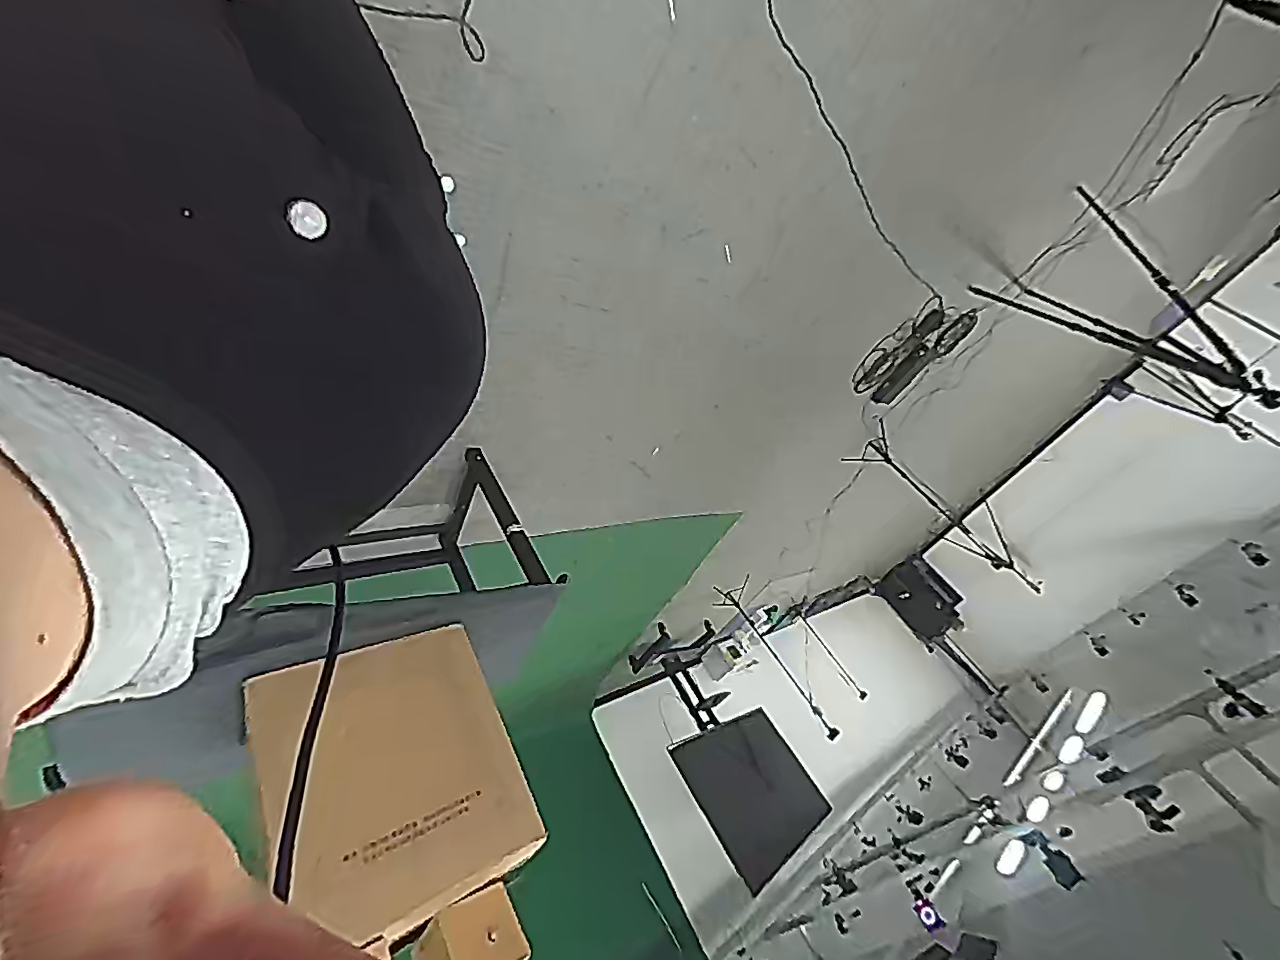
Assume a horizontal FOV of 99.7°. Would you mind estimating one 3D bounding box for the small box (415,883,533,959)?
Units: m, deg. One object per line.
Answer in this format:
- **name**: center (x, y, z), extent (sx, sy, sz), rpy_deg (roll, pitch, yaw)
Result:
- **small box**: center (-0.384, 1.084, 1.243), extent (0.179, 0.176, 0.168), rpy_deg (9, 117, -48)
